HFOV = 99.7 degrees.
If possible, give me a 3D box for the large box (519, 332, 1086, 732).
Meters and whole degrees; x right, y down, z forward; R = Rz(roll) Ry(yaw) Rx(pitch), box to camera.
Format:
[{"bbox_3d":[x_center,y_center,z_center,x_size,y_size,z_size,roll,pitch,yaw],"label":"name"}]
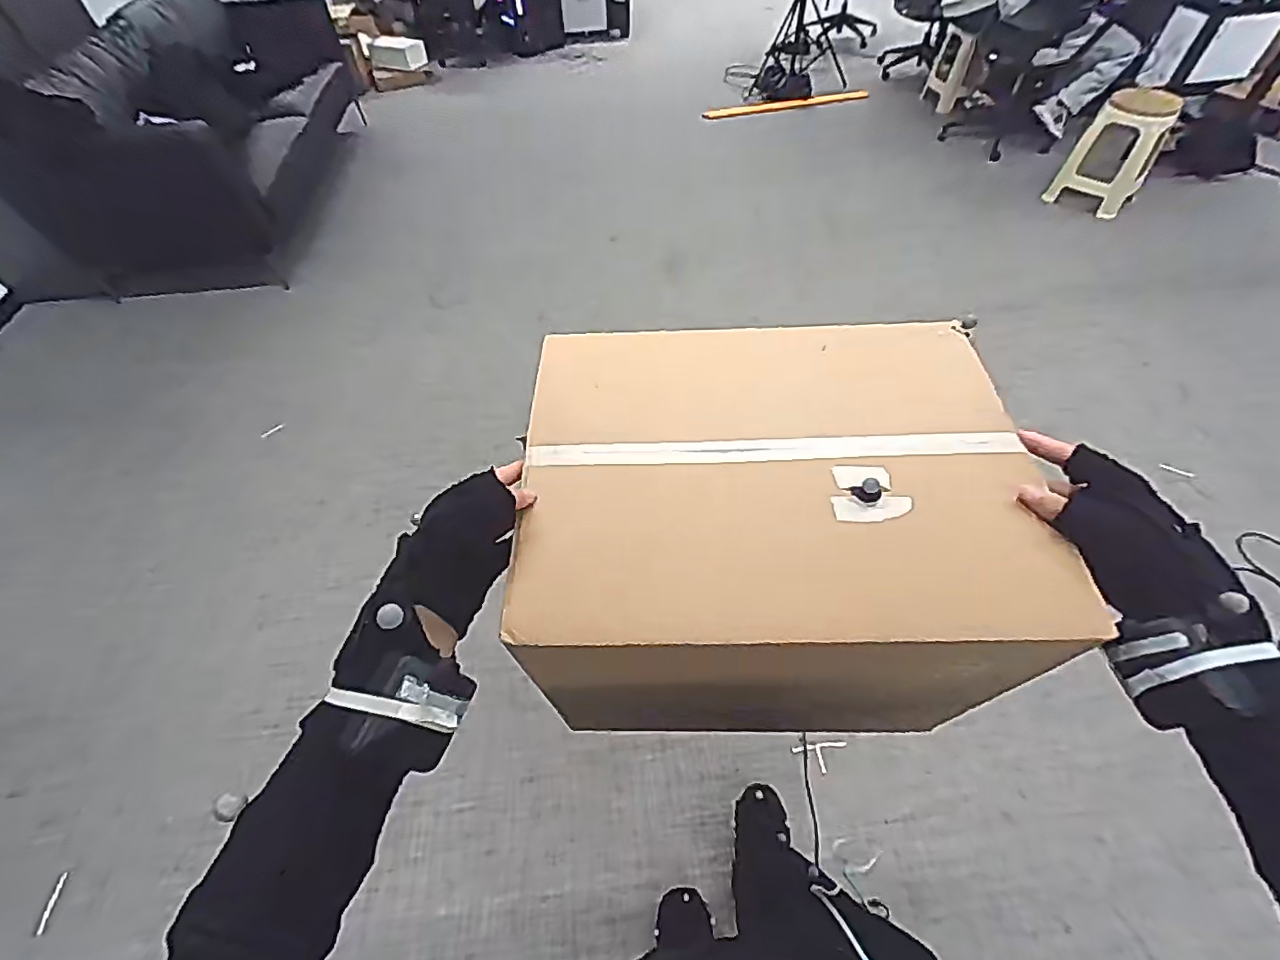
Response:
[{"bbox_3d":[0.114,0.071,0.581,0.408,0.320,0.320,-2,56,2],"label":"large box"}]
